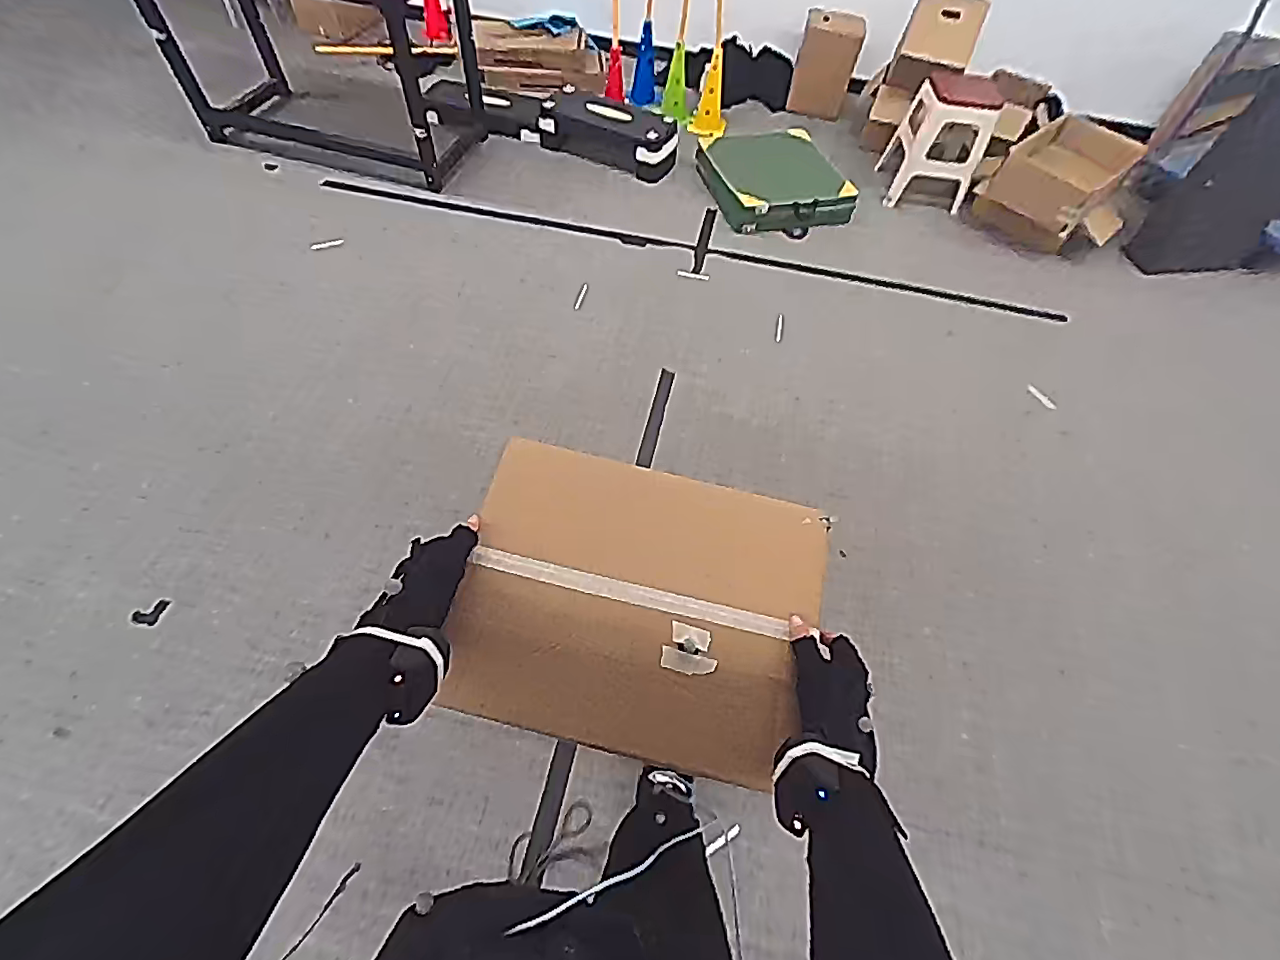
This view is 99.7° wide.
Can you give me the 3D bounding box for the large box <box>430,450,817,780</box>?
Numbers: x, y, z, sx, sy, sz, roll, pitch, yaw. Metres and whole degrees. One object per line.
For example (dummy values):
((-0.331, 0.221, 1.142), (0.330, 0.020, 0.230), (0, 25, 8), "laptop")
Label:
((-0.011, 0.200, 0.758), (0.408, 0.320, 0.320), (13, 64, 2), "large box")
